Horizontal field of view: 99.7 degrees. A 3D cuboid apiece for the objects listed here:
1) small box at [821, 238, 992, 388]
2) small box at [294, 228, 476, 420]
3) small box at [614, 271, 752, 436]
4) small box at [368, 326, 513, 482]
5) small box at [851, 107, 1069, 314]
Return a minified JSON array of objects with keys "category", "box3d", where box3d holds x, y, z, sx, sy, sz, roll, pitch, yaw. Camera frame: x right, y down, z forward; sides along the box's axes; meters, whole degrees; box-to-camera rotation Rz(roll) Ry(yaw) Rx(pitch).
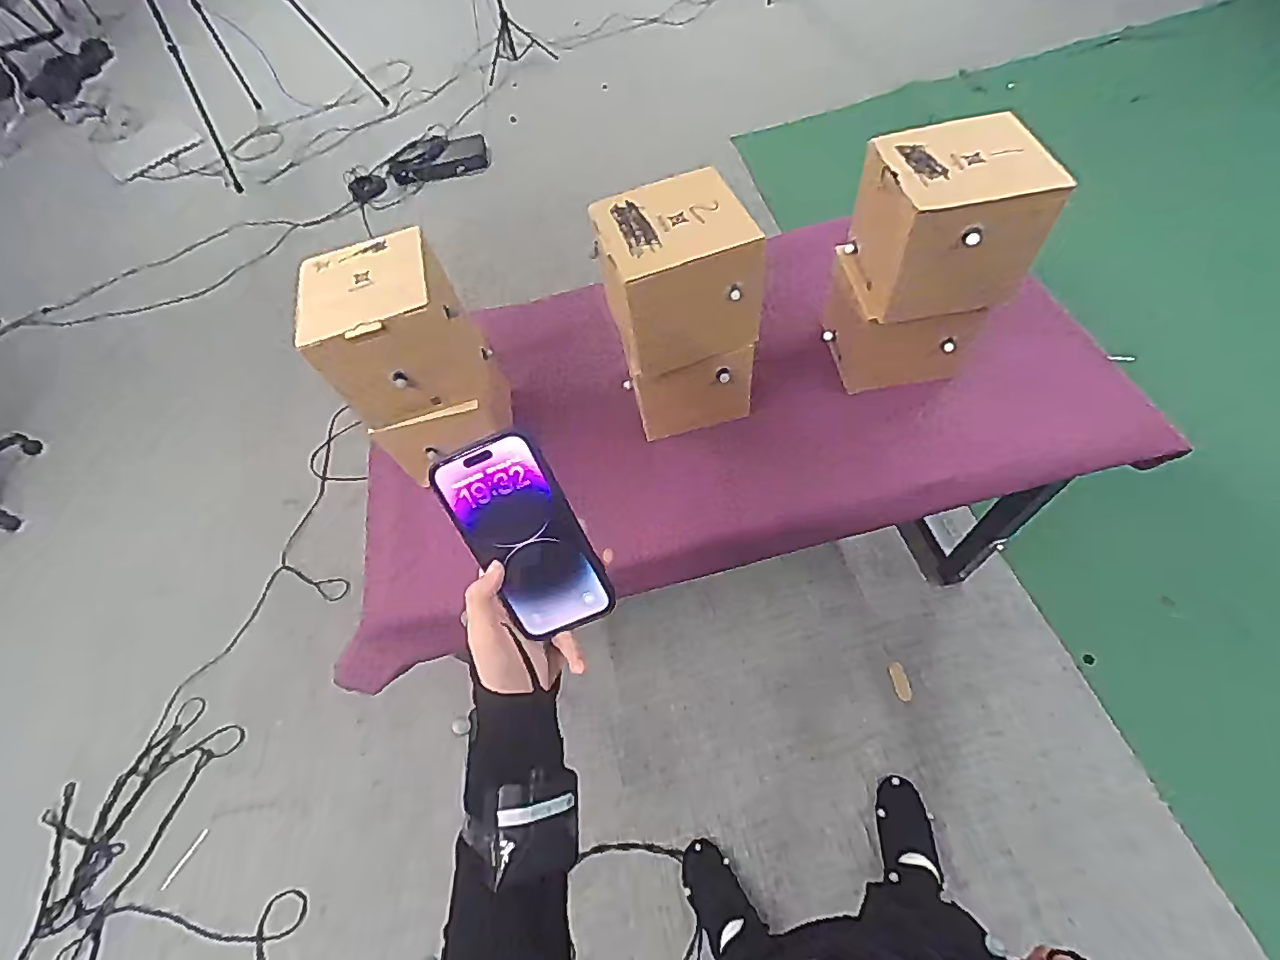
[{"category":"small box","box3d":[0.400,-0.267,0.849,0.179,0.176,0.168,-9,58,5]},{"category":"small box","box3d":[-0.340,-0.204,0.747,0.168,0.176,0.179,-18,59,-2]},{"category":"small box","box3d":[0.068,-0.194,0.862,0.179,0.176,0.168,-15,58,1]},{"category":"small box","box3d":[-0.314,-0.114,0.882,0.168,0.176,0.179,-14,58,1]},{"category":"small box","box3d":[0.388,-0.339,0.702,0.179,0.176,0.168,-9,58,4]}]
